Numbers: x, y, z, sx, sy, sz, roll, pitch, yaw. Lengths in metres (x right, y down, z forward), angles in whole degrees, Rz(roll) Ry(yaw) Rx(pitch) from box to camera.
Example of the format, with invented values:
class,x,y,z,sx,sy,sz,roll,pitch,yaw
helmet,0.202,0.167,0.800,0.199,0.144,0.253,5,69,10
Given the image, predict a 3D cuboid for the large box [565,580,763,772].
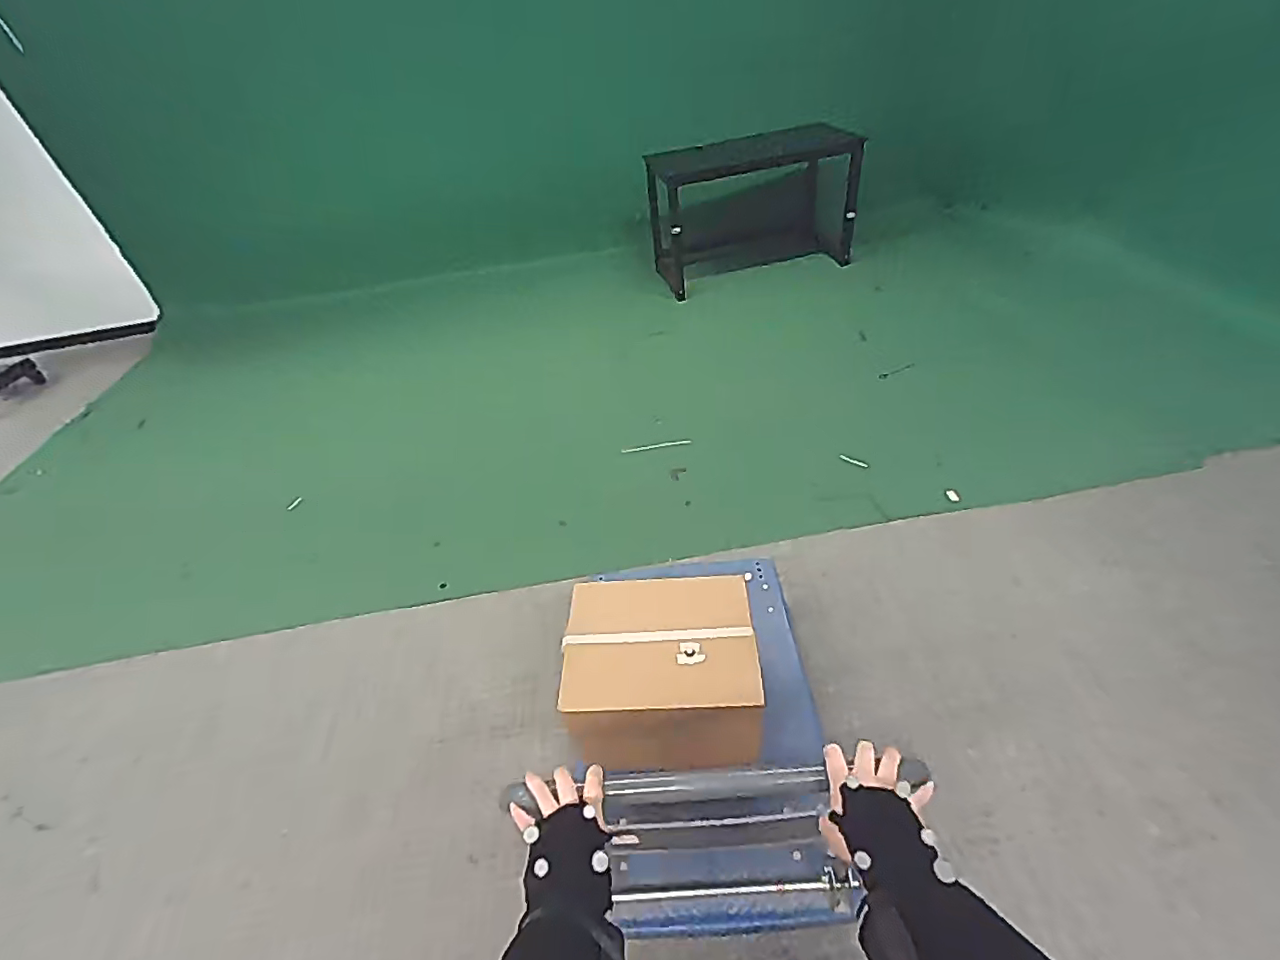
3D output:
class,x,y,z,sx,sy,sz,roll,pitch,yaw
large box,0.058,0.461,1.274,0.408,0.320,0.320,-4,41,4
